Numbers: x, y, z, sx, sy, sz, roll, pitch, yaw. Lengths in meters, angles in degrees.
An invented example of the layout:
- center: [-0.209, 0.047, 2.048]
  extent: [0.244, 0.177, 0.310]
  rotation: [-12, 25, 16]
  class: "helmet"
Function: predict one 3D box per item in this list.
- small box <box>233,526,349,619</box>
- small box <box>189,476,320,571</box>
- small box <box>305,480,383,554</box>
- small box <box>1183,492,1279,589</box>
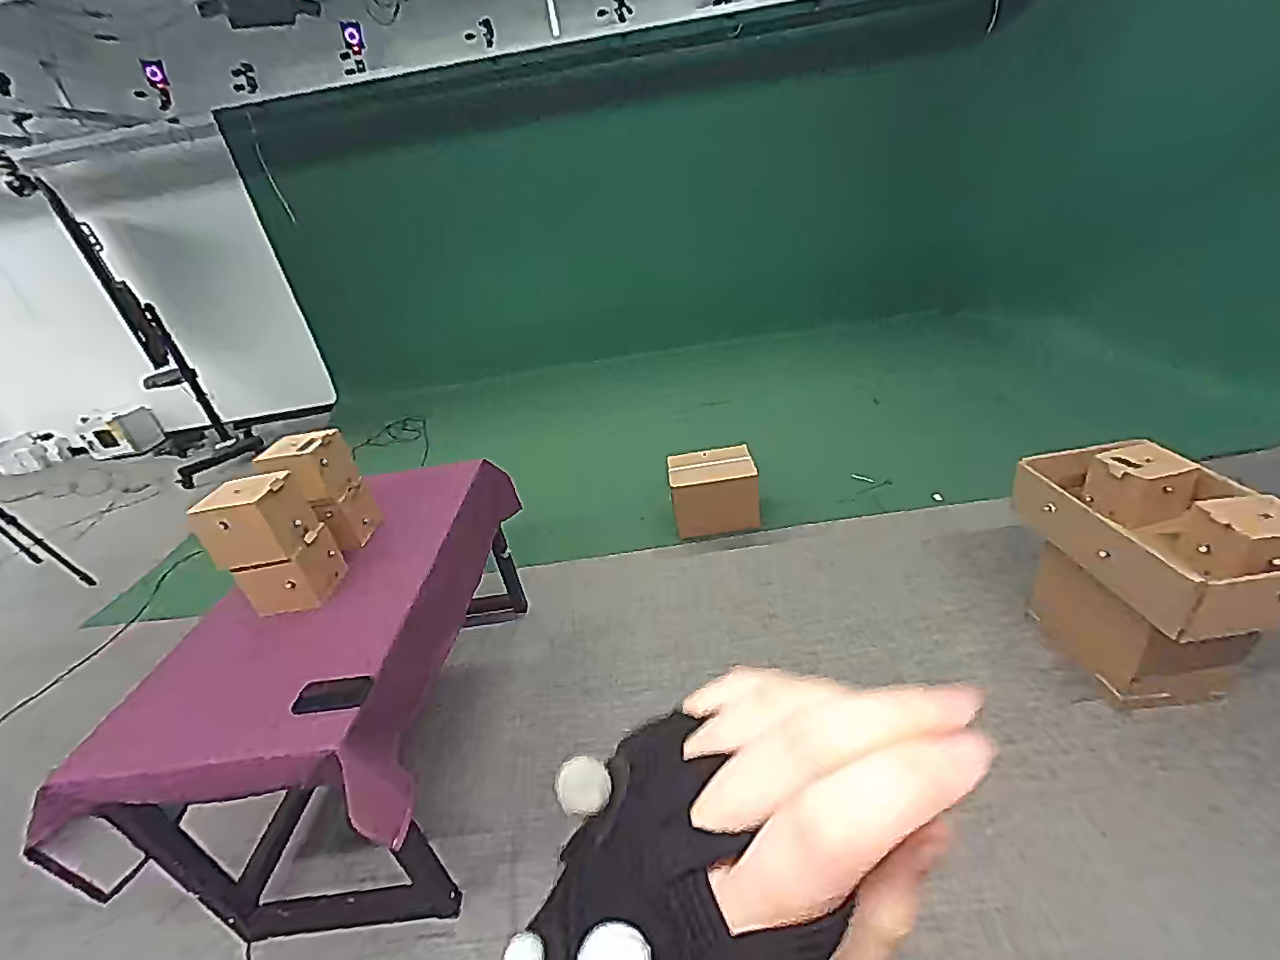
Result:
- center: [-0.919, 0.247, 1.447]
  extent: [0.179, 0.176, 0.168]
  rotation: [-10, 28, 3]
  class: "small box"
- center: [-0.956, 0.111, 1.360]
  extent: [0.179, 0.176, 0.168]
  rotation: [-10, 28, 2]
  class: "small box"
- center: [-0.937, 0.121, 1.679]
  extent: [0.179, 0.176, 0.168]
  rotation: [-9, 29, 2]
  class: "small box"
- center: [1.490, 0.150, 1.320]
  extent: [0.179, 0.176, 0.168]
  rotation: [-7, 29, 9]
  class: "small box"
